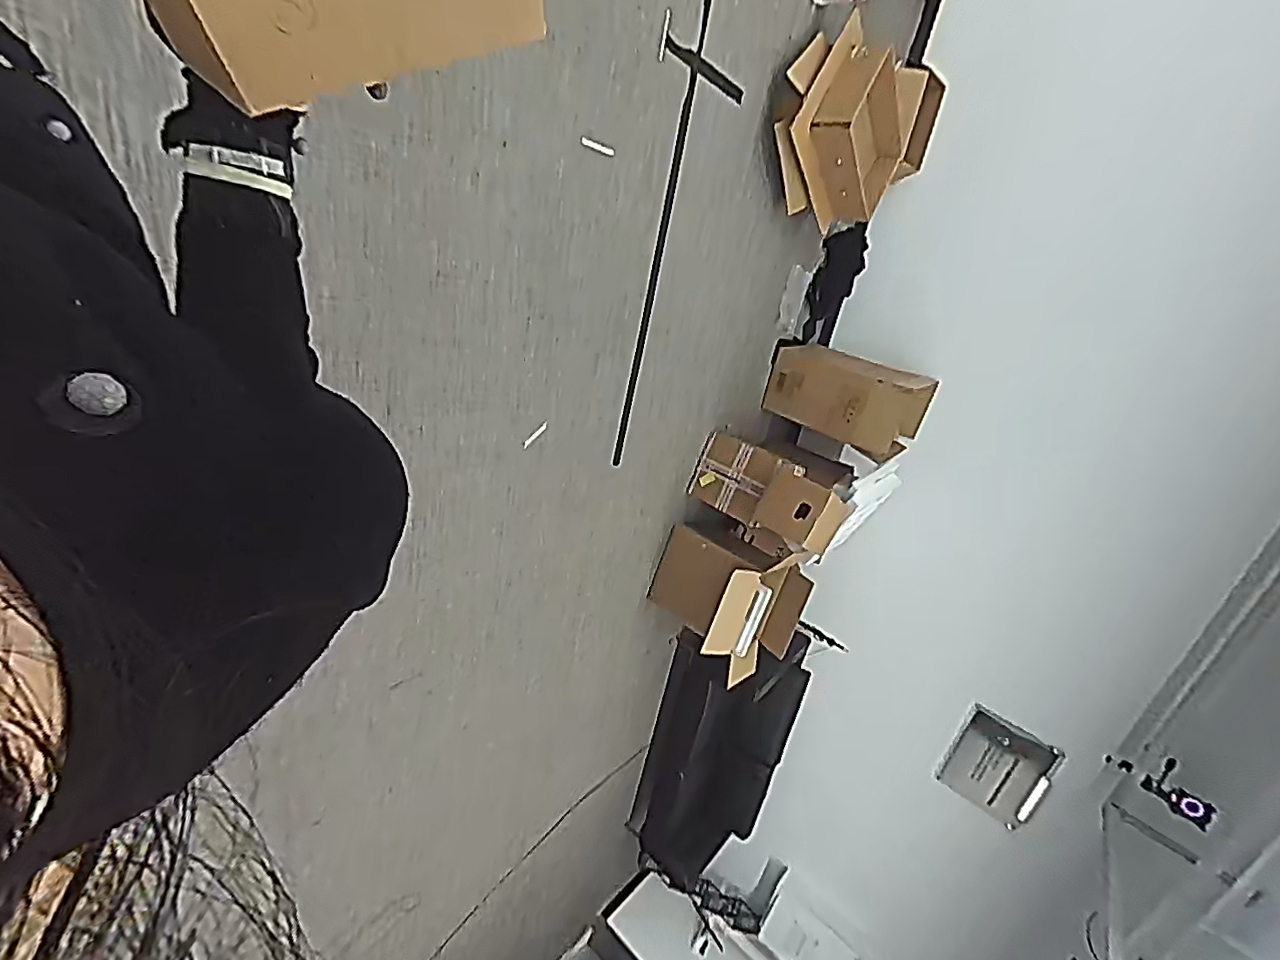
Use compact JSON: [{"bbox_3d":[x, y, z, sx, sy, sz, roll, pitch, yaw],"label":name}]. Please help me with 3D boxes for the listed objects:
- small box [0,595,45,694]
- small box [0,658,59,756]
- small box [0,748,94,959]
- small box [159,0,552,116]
[{"bbox_3d":[-0.912,0.269,0.707,0.168,0.176,0.179,-8,119,-51],"label":"small box"},{"bbox_3d":[-0.792,0.330,0.615,0.168,0.176,0.179,-11,123,-50],"label":"small box"},{"bbox_3d":[-0.672,0.399,0.529,0.168,0.176,0.179,-11,124,-49],"label":"small box"},{"bbox_3d":[-0.175,-0.317,0.277,0.179,0.176,0.168,-35,147,-22],"label":"small box"}]
